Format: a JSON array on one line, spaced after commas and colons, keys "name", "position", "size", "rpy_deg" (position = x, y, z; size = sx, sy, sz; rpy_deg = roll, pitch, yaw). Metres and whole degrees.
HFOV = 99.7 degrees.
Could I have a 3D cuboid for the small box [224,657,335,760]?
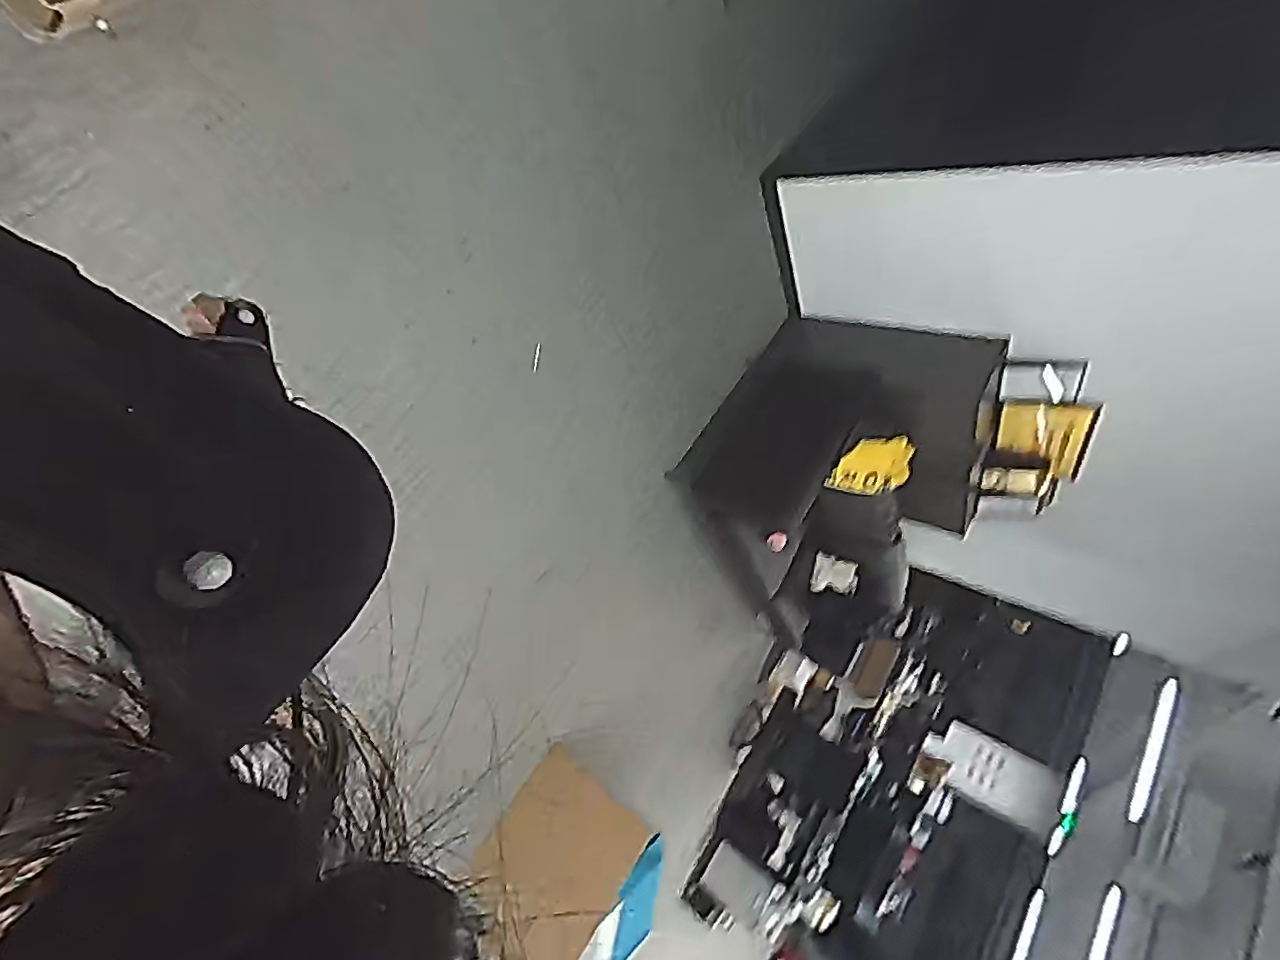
[{"name": "small box", "position": [-0.987, 0.620, 1.473], "size": [0.179, 0.176, 0.168], "rpy_deg": [-54, 141, -20]}]
